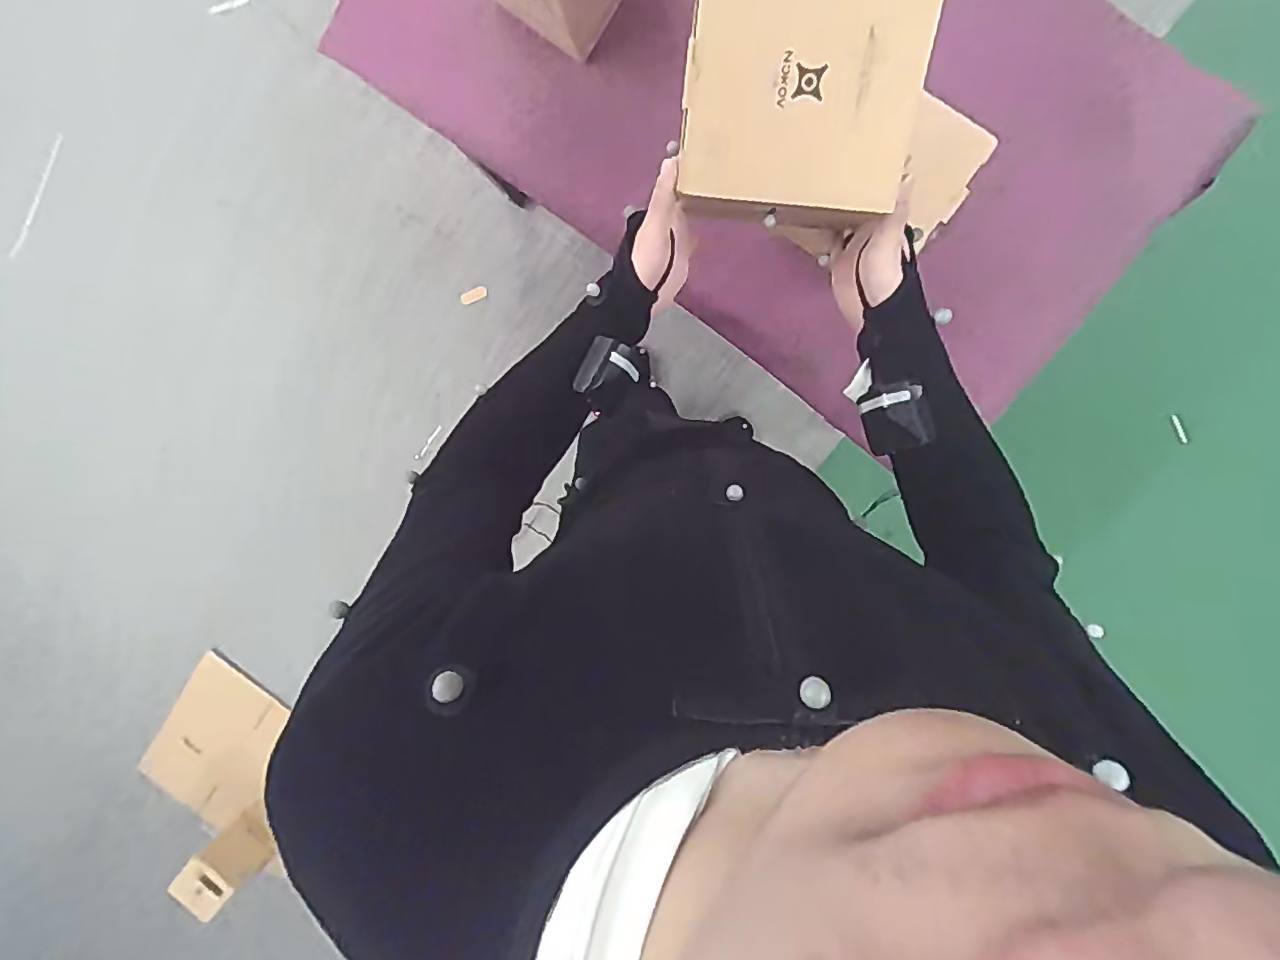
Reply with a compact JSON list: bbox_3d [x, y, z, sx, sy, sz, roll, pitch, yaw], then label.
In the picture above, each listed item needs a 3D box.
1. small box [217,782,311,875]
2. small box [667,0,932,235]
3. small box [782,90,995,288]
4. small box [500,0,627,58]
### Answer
[{"bbox_3d":[-1.294,1.199,1.876,0.179,0.176,0.168,42,100,1],"label":"small box"},{"bbox_3d":[0.124,-0.321,0.486,0.179,0.176,0.168,7,111,3],"label":"small box"},{"bbox_3d":[0.316,-0.383,0.732,0.179,0.176,0.168,36,100,2],"label":"small box"},{"bbox_3d":[-0.111,-0.737,0.742,0.179,0.176,0.168,37,100,1],"label":"small box"}]
